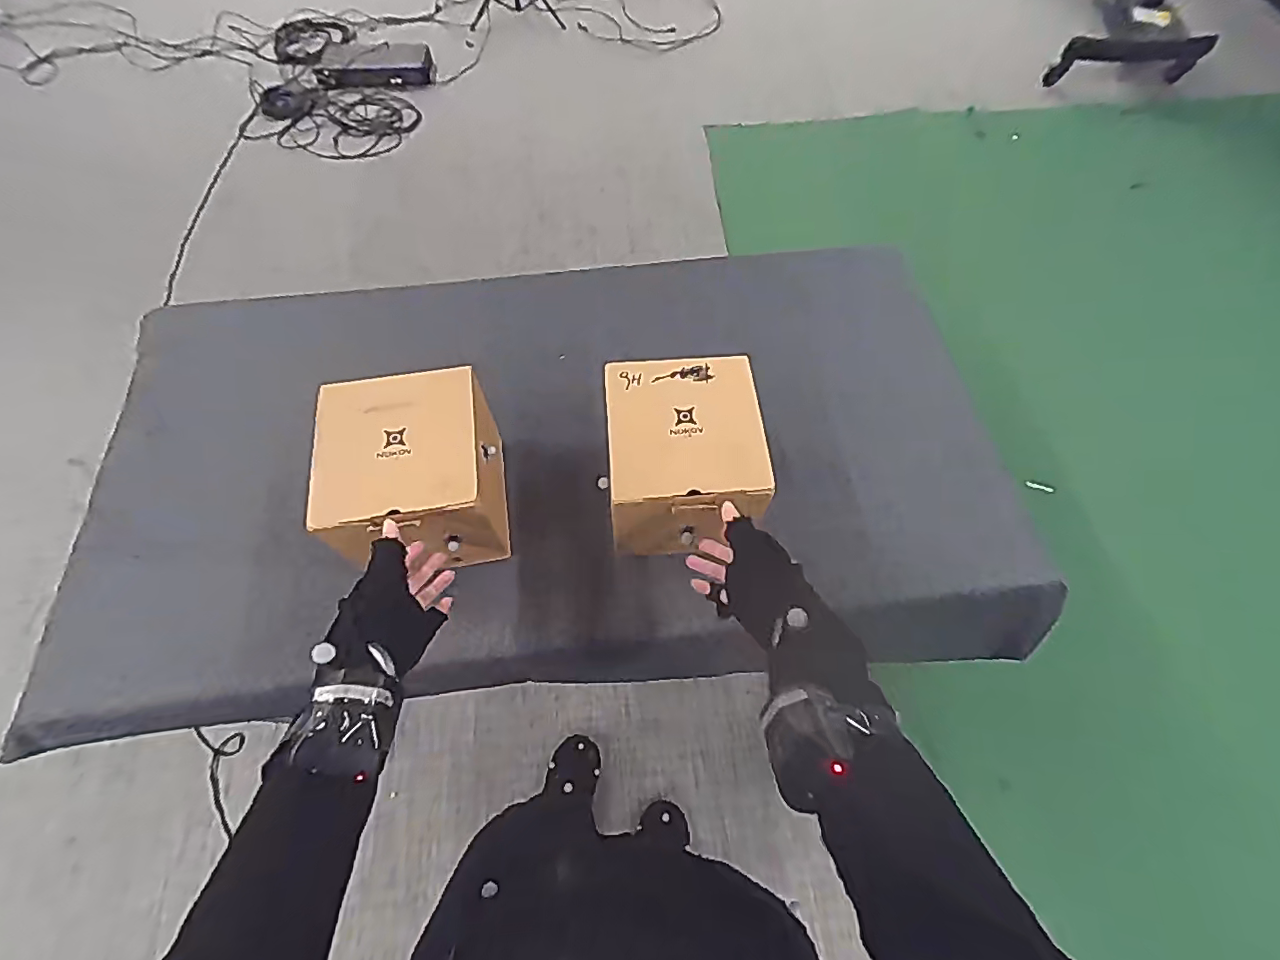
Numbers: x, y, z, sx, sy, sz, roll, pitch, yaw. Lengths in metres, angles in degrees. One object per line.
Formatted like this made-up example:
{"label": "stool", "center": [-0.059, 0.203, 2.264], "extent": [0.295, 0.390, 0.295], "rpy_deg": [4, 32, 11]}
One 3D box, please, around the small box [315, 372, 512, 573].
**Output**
{"label": "small box", "center": [-0.256, 0.001, 0.645], "extent": [0.168, 0.176, 0.179], "rpy_deg": [-10, 63, -6]}
